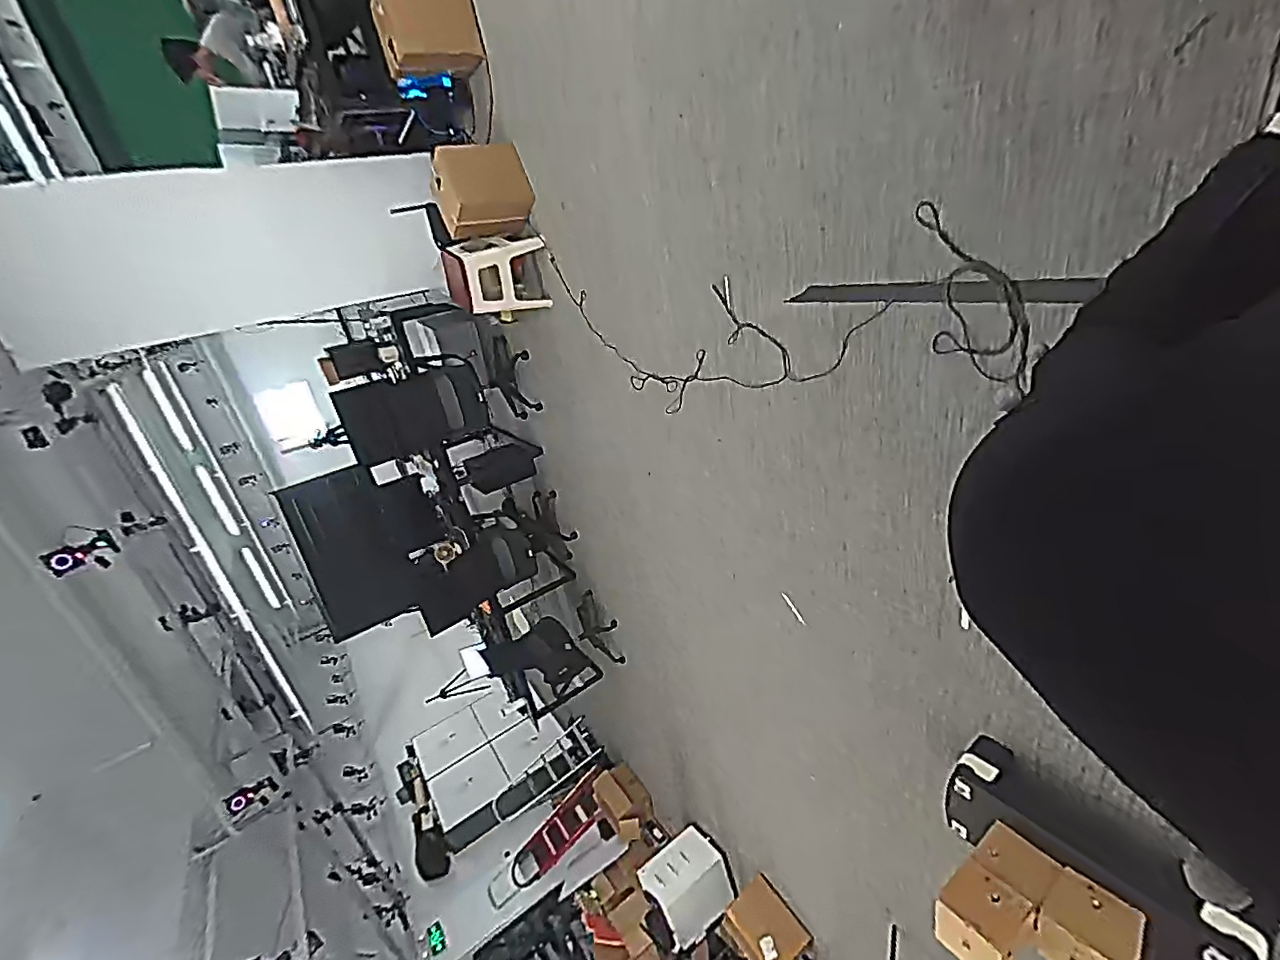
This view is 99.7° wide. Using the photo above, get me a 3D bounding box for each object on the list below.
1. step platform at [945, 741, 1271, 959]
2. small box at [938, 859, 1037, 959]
[{"bbox_3d":[1.242,1.081,1.528,0.684,0.204,0.286,22,131,52],"label":"step platform"},{"bbox_3d":[0.921,1.172,1.435,0.168,0.176,0.179,21,129,54],"label":"small box"}]
